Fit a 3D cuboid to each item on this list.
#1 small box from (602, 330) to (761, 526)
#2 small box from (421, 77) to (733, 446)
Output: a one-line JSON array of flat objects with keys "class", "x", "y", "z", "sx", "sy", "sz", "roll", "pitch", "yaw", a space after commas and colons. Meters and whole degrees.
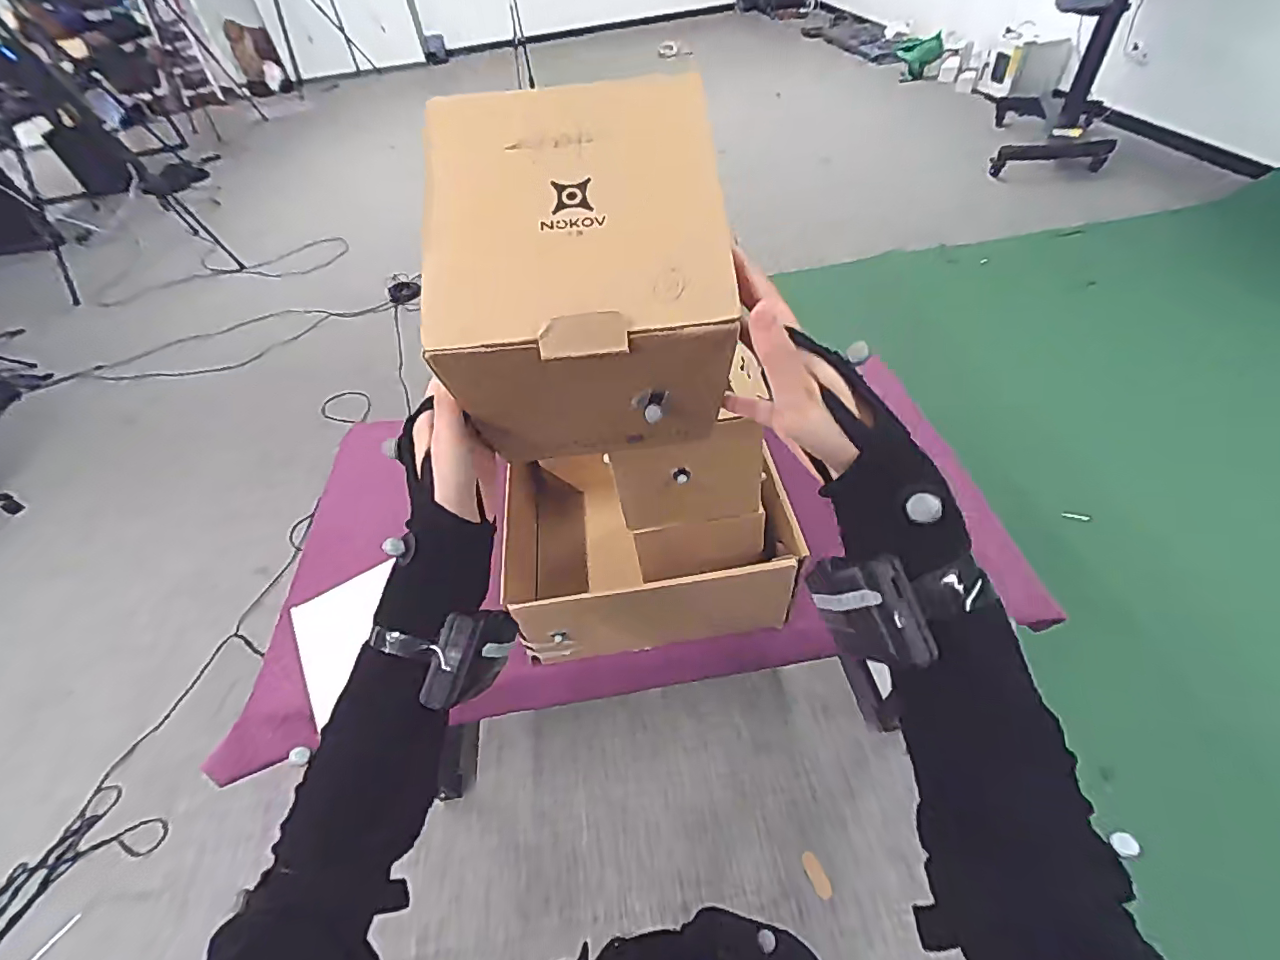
[{"class": "small box", "x": 0.049, "y": -0.062, "z": 0.688, "sx": 0.179, "sy": 0.176, "sz": 0.168, "roll": -9, "pitch": 47, "yaw": 3}, {"class": "small box", "x": -0.036, "y": -0.130, "z": 0.377, "sx": 0.168, "sy": 0.176, "sz": 0.179, "roll": -5, "pitch": 72, "yaw": -1}]
